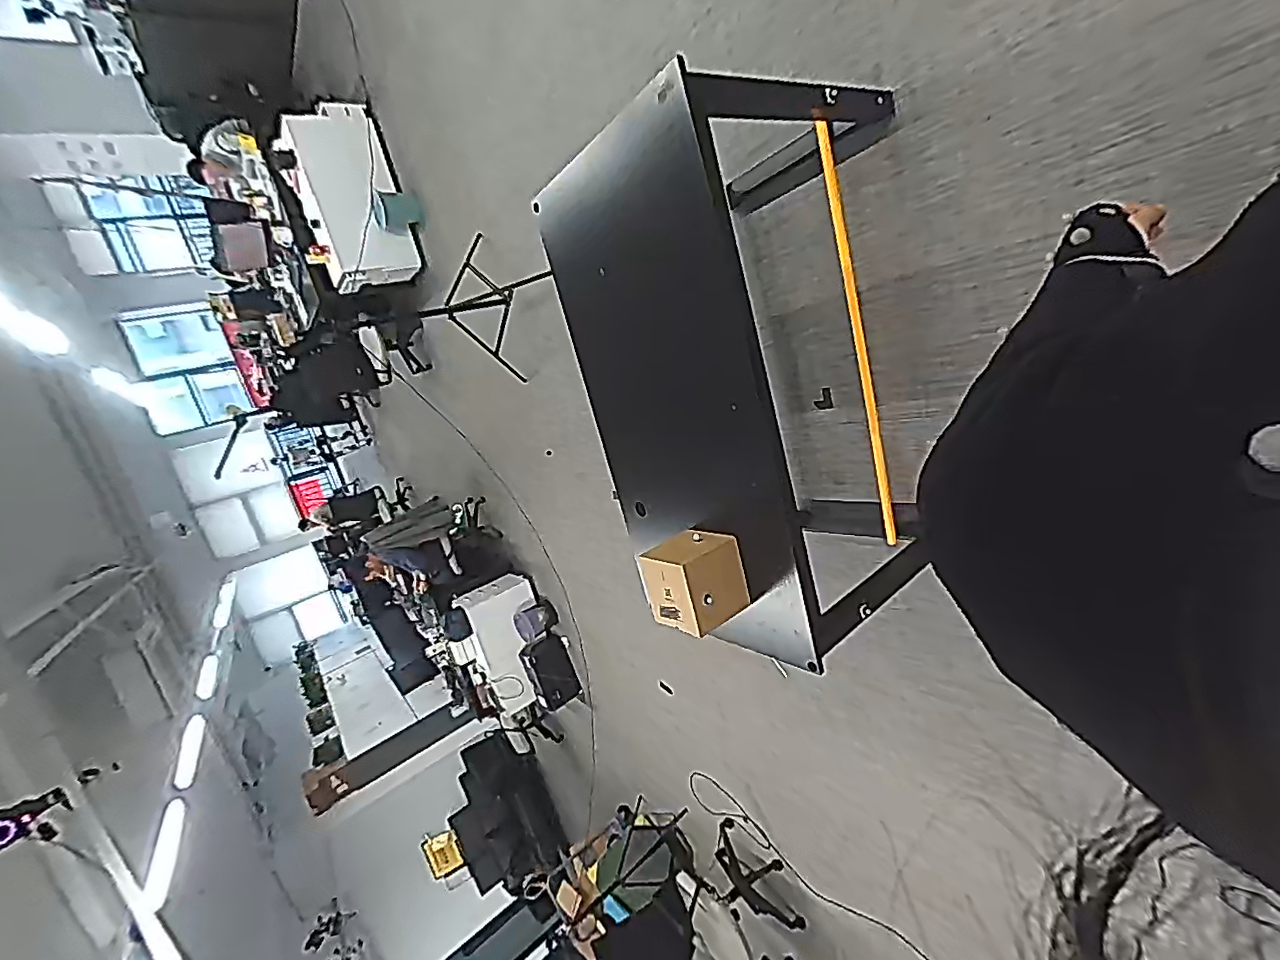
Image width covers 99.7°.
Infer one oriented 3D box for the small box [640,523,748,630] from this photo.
[{"bbox_3d":[0.130,0.217,1.262,0.168,0.176,0.179,3,111,54],"label":"small box"}]
